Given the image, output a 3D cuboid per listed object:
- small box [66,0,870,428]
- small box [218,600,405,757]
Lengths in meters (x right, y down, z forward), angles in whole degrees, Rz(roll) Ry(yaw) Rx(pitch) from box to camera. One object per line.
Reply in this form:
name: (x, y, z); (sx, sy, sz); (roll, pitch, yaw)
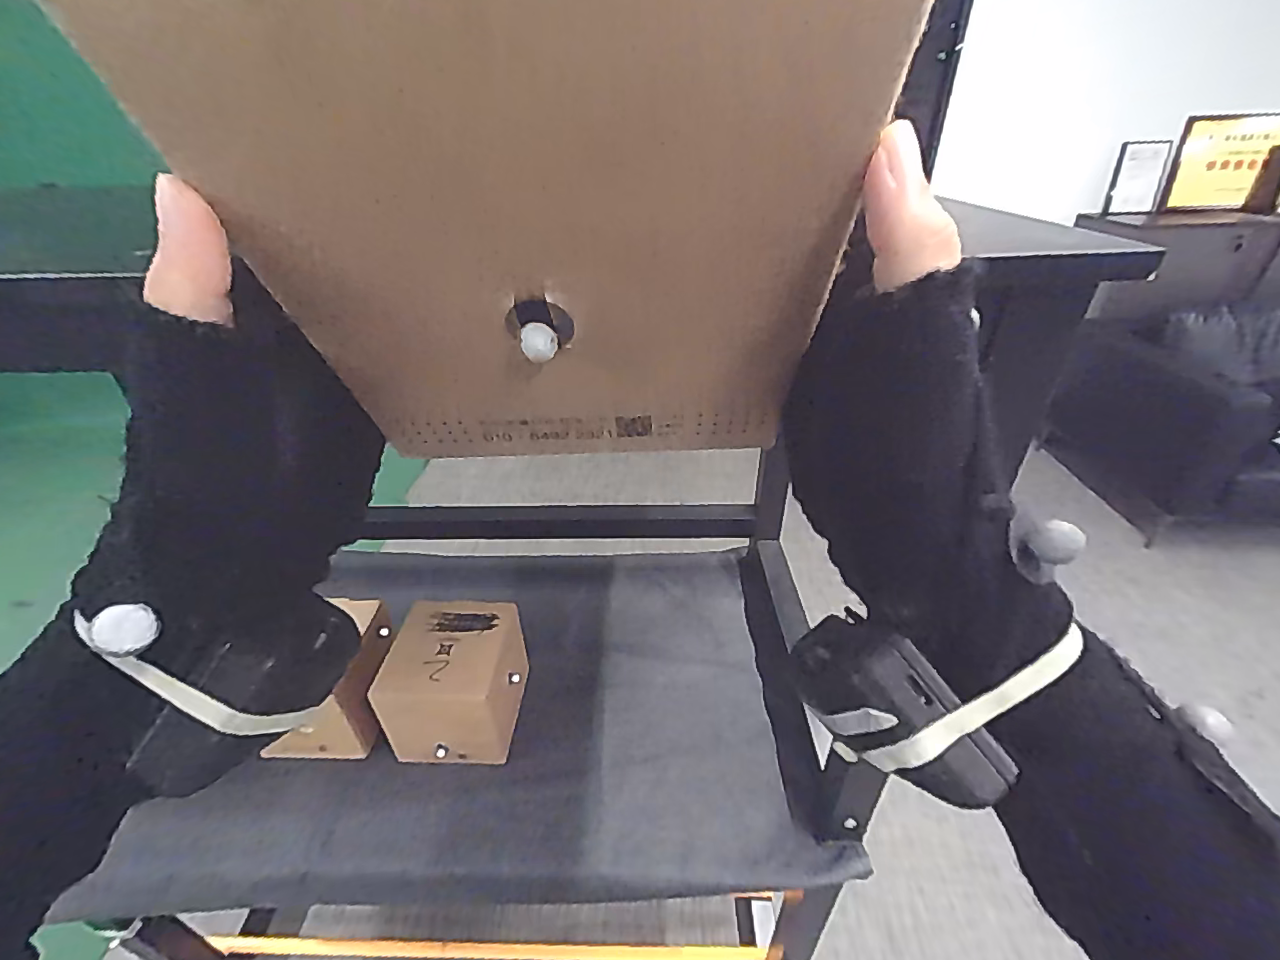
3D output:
small box: (-0.030, -0.132, 0.210); (0.168, 0.176, 0.179); (-2, 60, 0)
small box: (-0.494, 0.310, 0.850); (0.168, 0.176, 0.179); (0, 32, 2)
